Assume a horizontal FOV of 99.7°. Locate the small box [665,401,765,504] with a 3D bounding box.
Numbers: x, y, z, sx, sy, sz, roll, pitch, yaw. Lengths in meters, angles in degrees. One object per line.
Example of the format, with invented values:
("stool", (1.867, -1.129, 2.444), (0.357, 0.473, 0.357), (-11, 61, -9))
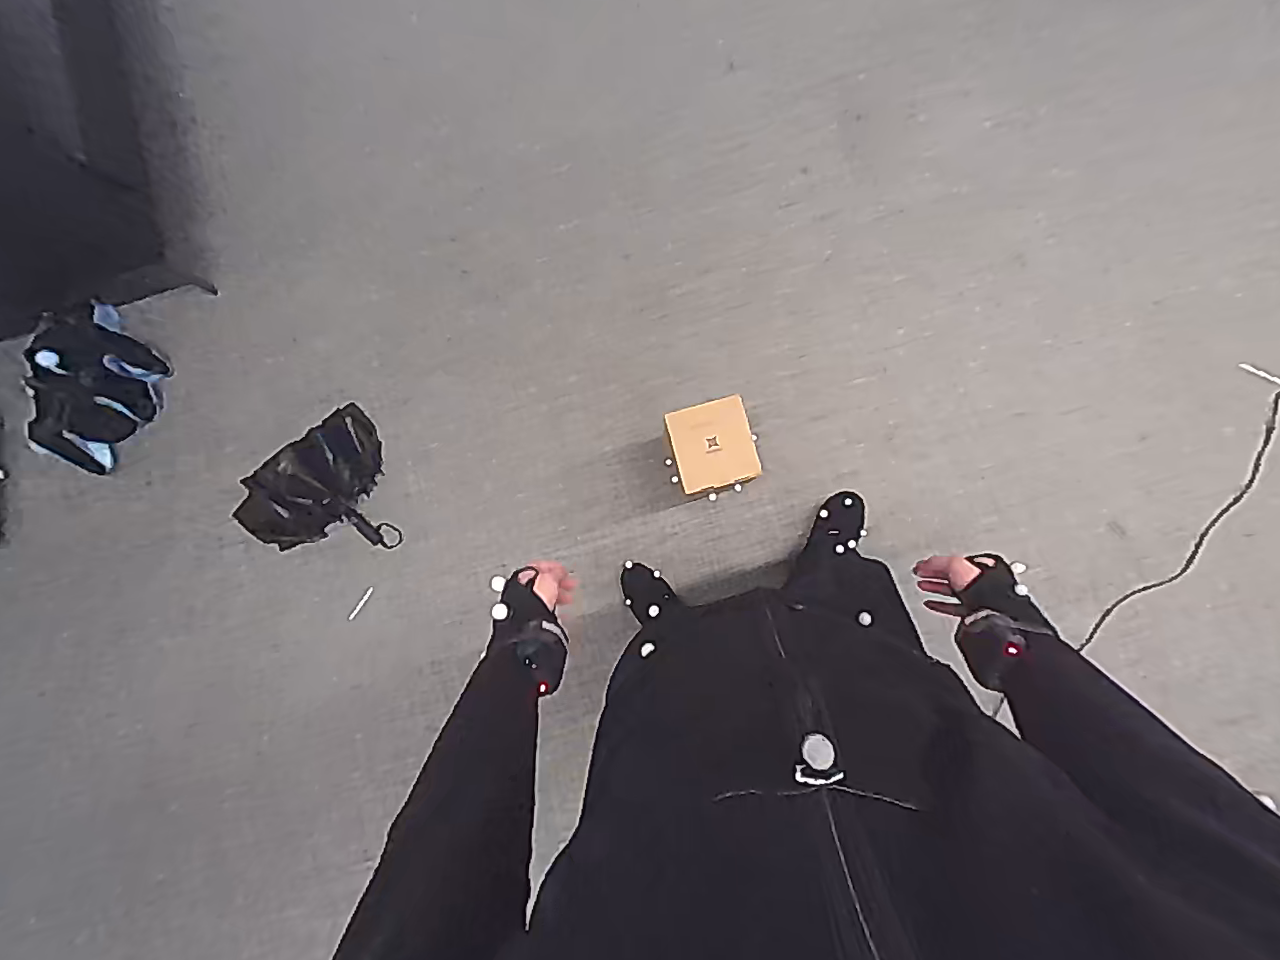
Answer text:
("small box", (0.156, -0.050, 1.163), (0.168, 0.176, 0.179), (-16, 83, 1))
